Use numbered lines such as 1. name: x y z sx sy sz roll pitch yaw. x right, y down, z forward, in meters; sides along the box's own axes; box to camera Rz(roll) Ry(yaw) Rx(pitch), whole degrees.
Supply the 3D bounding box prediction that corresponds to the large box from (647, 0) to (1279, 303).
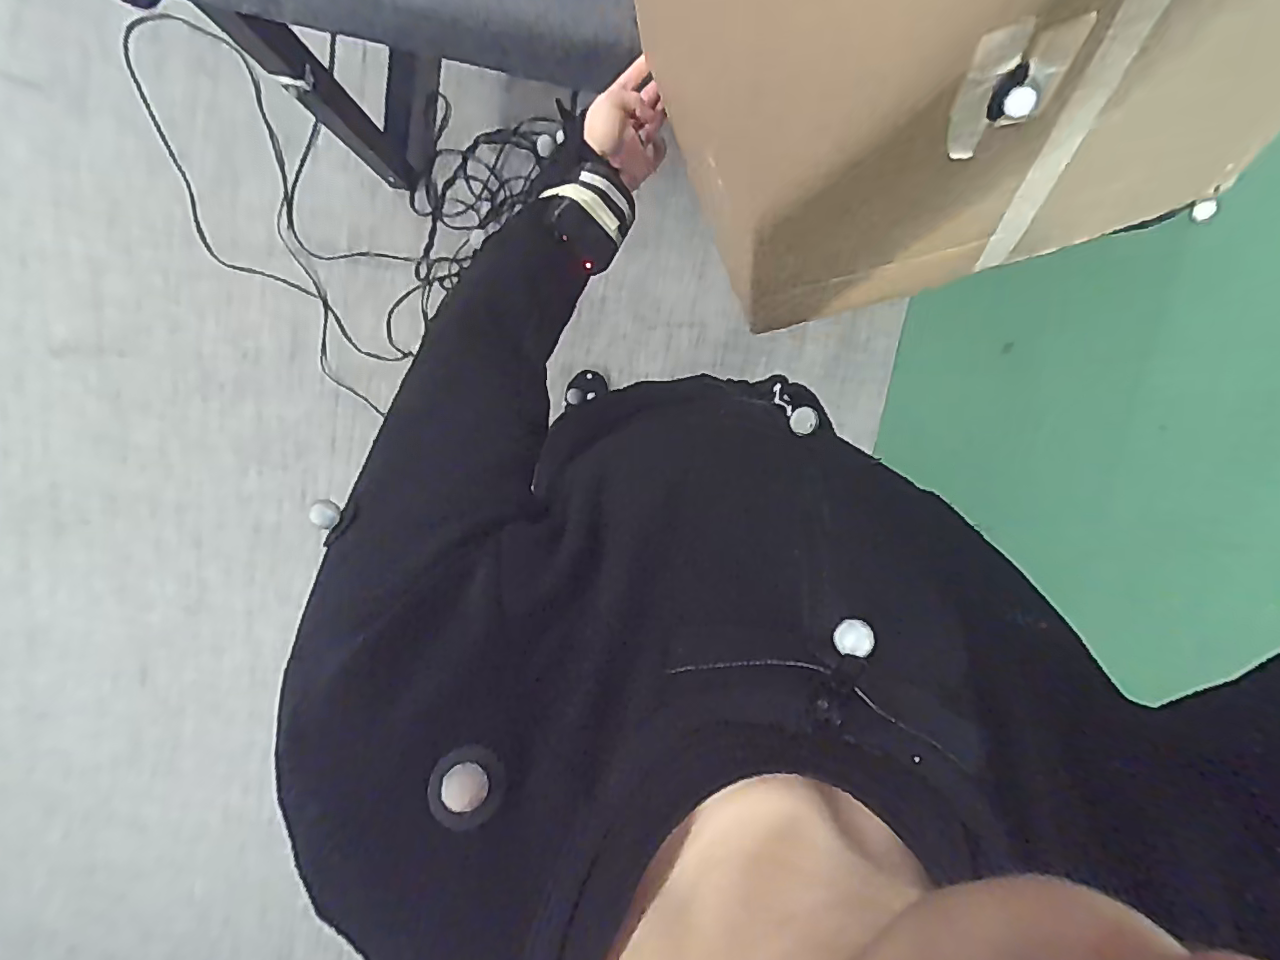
1. large box: 0.156 -0.365 0.235 0.320 0.408 0.320 -17 70 5
